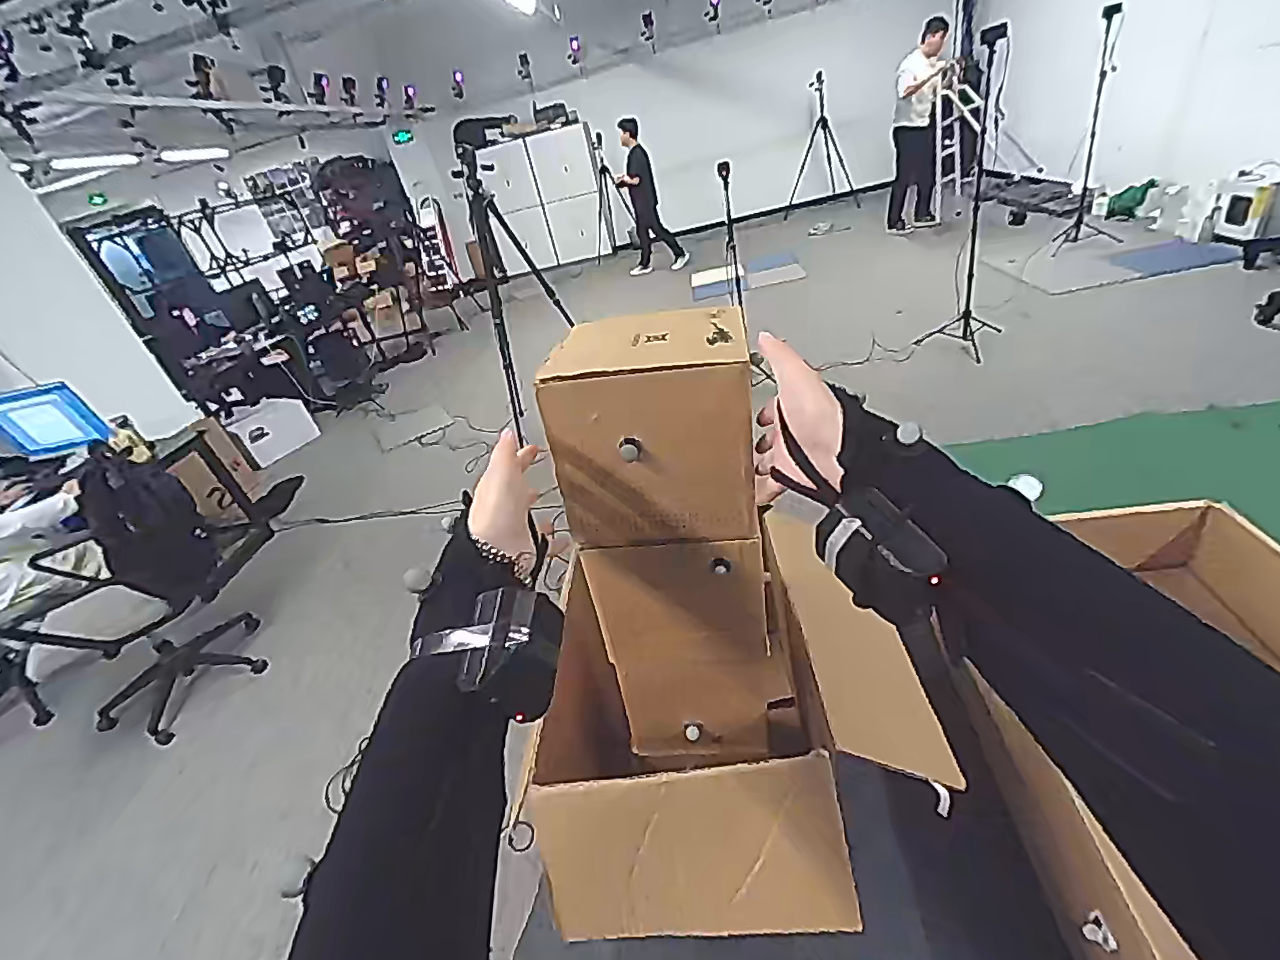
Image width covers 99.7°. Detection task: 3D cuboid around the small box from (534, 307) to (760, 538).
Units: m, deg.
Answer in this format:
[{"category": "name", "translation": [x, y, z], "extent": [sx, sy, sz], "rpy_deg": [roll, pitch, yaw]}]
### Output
[{"category": "small box", "translation": [0.020, -0.055, 0.530], "extent": [0.179, 0.176, 0.168], "rpy_deg": [-4, 31, 10]}]

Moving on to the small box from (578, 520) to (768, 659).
[{"category": "small box", "translation": [0.045, 0.085, 0.611], "extent": [0.179, 0.176, 0.168], "rpy_deg": [-5, 31, 9]}]
